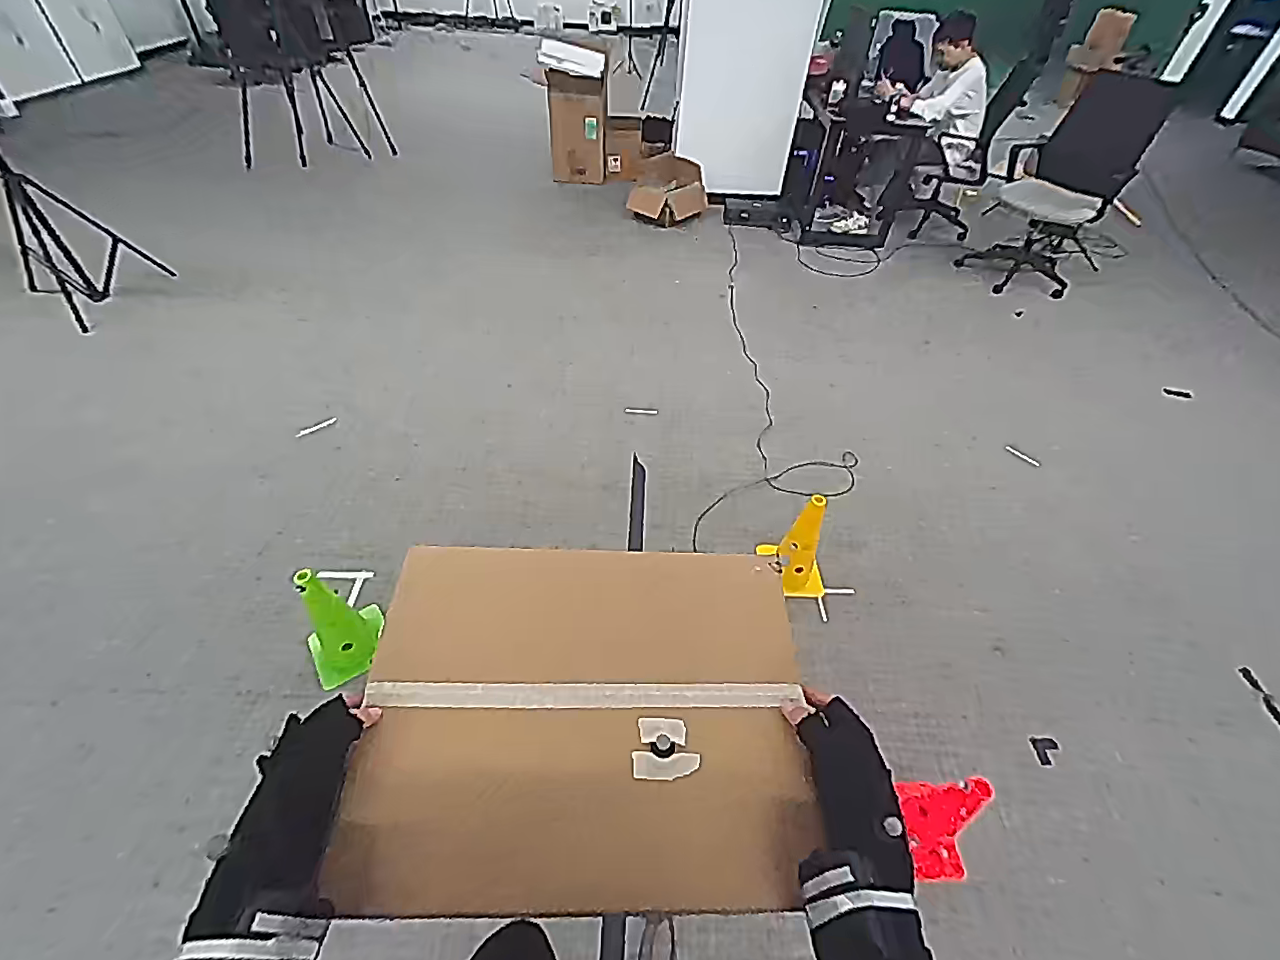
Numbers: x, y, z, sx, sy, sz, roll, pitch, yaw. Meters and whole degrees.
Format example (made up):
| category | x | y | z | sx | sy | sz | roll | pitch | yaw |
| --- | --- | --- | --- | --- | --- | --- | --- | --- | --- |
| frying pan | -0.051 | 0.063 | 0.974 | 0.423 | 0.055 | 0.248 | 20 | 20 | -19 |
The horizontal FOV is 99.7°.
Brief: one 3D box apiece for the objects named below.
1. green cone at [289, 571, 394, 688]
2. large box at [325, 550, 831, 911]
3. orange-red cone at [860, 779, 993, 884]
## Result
| category | x | y | z | sx | sy | sz | roll | pitch | yaw |
| --- | --- | --- | --- | --- | --- | --- | --- | --- | --- |
| green cone | -0.820 | 0.351 | 1.428 | 0.202 | 0.368 | 0.200 | -27 | 53 | -24 |
| large box | -0.058 | 0.295 | 0.627 | 0.408 | 0.320 | 0.320 | 2 | 51 | -4 |
| orange-red cone | 0.651 | 0.717 | 1.166 | 0.198 | 0.360 | 0.199 | 2 | 45 | -3 |
